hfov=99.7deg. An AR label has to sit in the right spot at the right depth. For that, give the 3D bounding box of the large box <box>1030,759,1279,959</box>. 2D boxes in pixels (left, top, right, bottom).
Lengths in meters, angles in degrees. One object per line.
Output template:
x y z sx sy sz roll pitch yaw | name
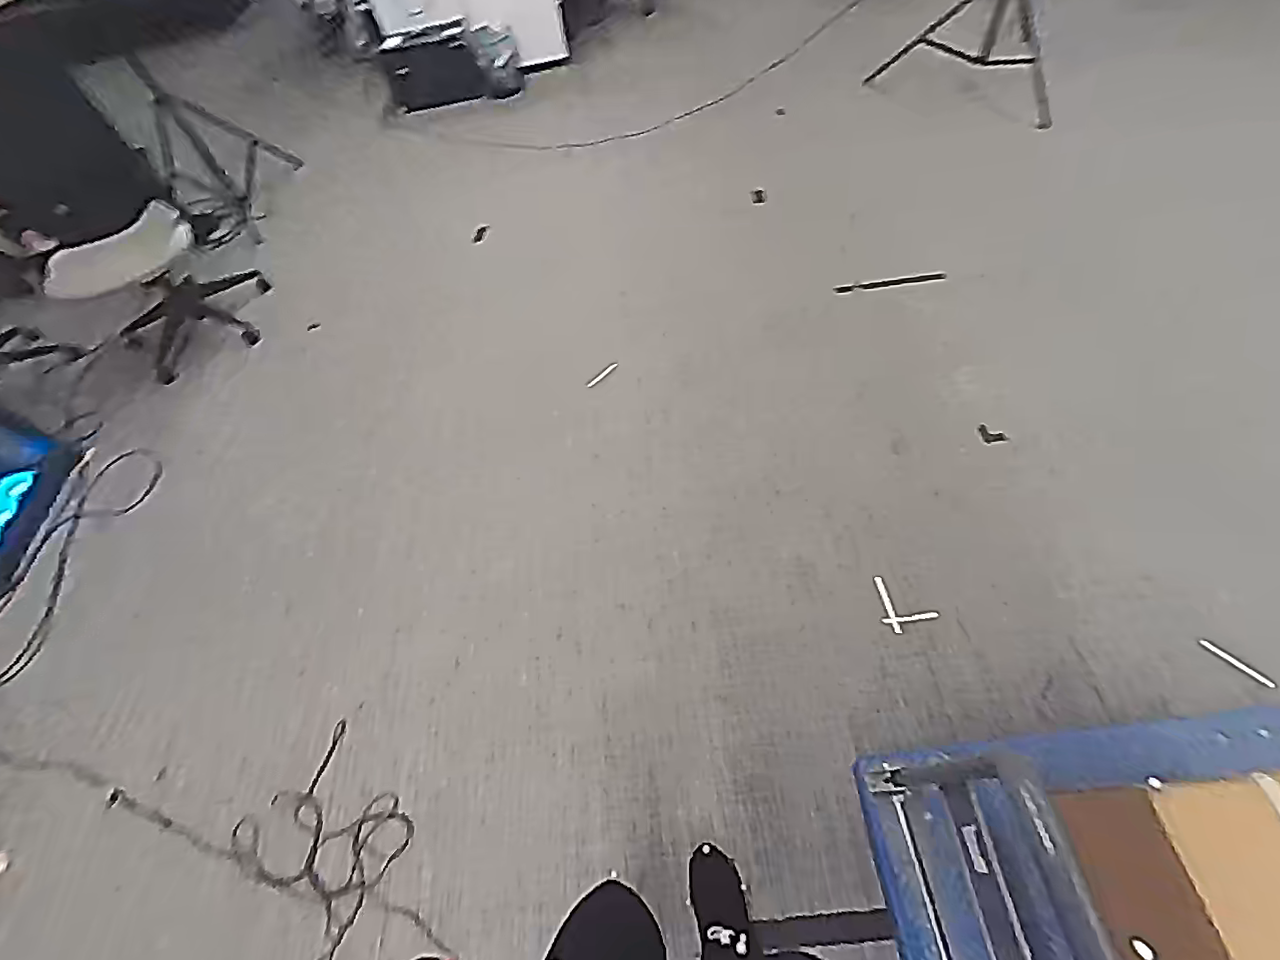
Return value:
0.895 0.667 0.803 0.320 0.320 0.408 -8 56 2 | large box
